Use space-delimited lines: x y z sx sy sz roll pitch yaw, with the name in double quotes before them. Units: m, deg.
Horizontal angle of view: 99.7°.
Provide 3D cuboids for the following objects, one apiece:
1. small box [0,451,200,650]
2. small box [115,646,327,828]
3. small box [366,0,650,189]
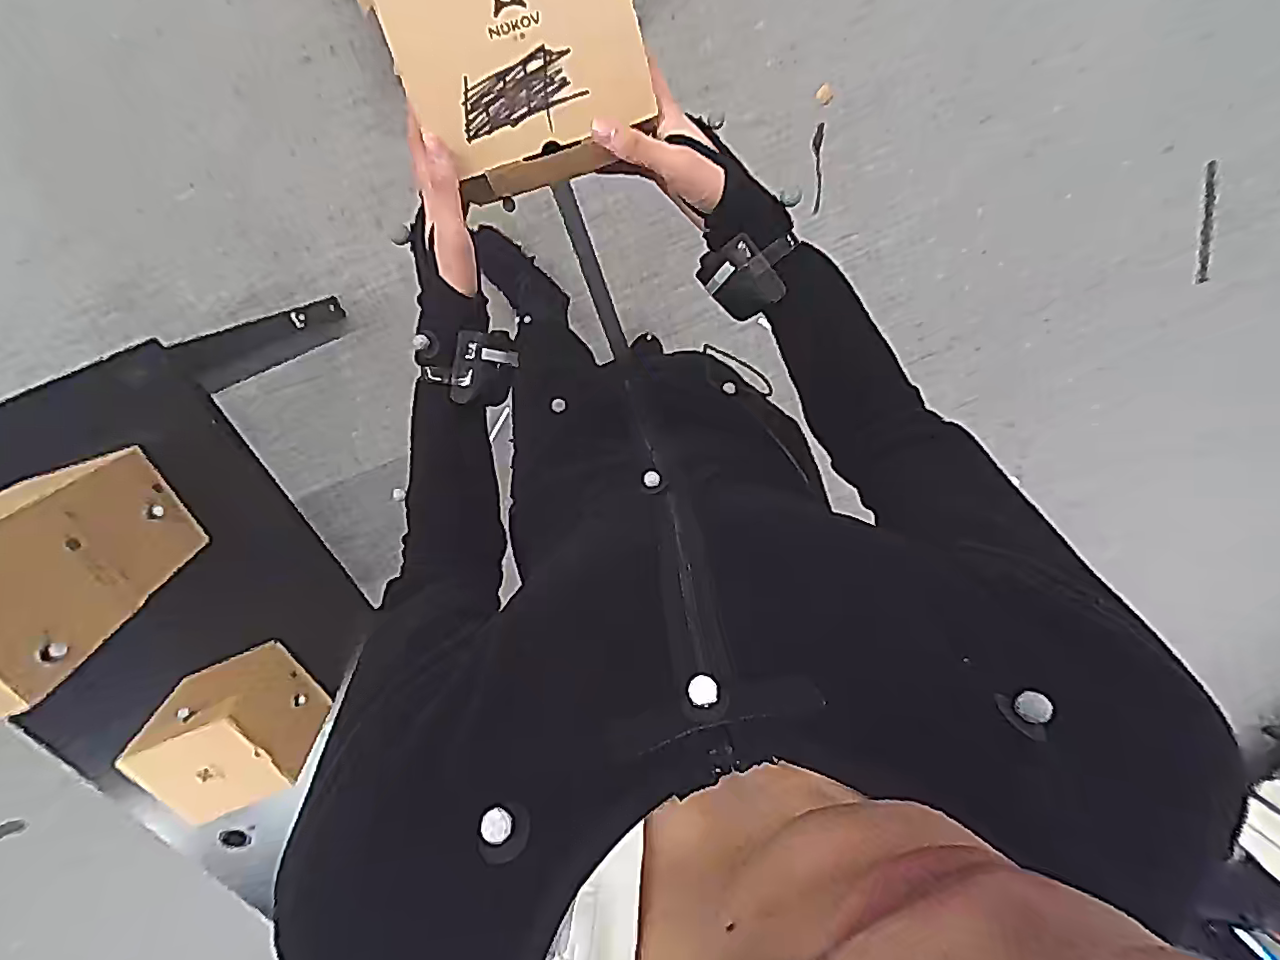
"small box" -0.745 0.083 0.707 0.179 0.176 0.168 -18 117 -2
"small box" -0.652 0.405 0.871 0.179 0.176 0.168 -23 116 0
"small box" -0.098 -0.341 0.419 0.168 0.176 0.179 -17 113 0
